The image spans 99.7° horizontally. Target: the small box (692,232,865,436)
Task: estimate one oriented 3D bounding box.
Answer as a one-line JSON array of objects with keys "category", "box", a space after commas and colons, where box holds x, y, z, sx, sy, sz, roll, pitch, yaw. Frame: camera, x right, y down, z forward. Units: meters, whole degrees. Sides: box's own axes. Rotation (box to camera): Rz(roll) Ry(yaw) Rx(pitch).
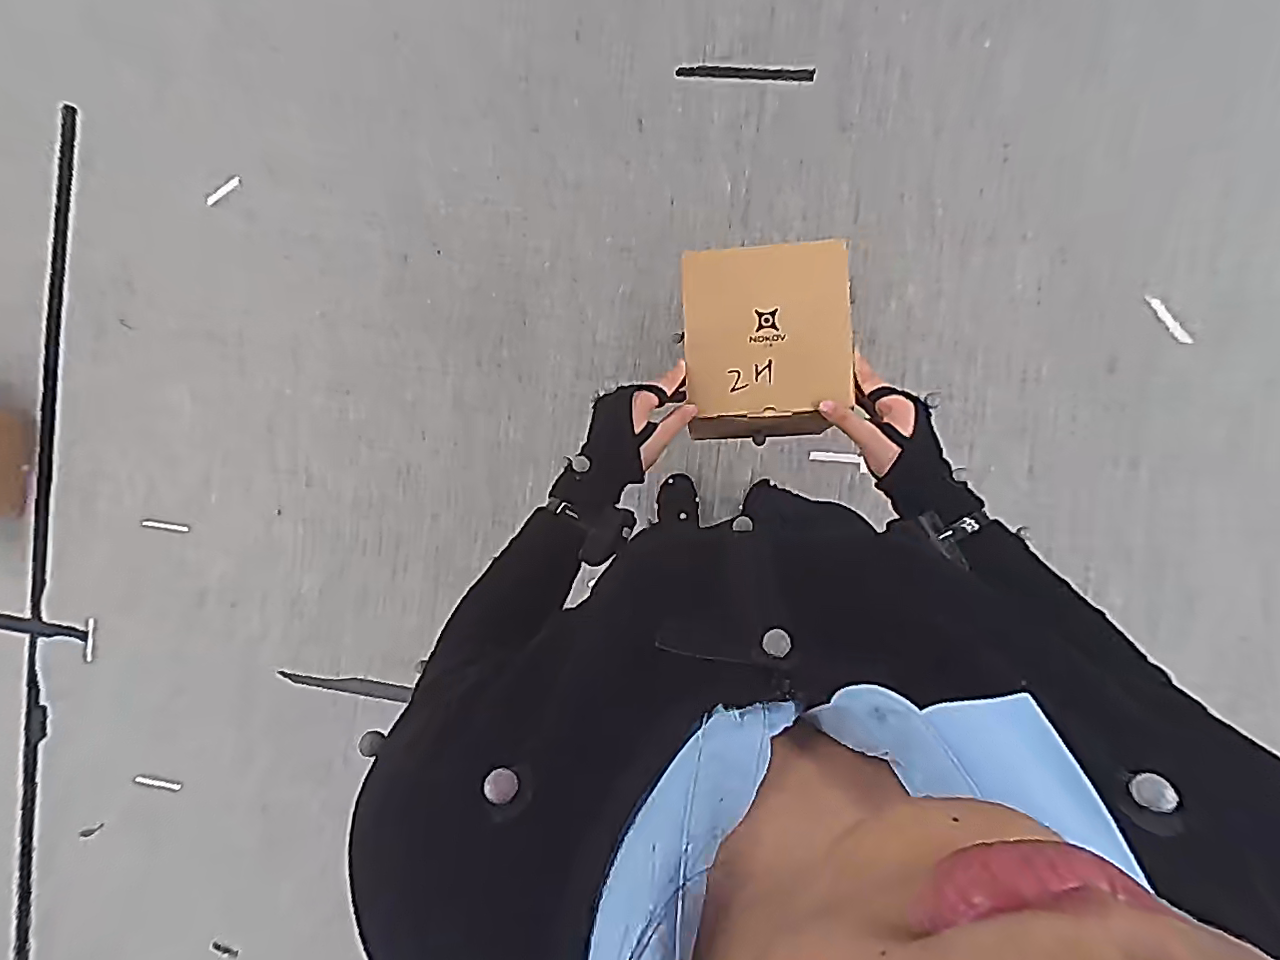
[{"category": "small box", "box": [0.143, -0.150, 0.613, 0.168, 0.176, 0.179, -2, 87, 7]}]
